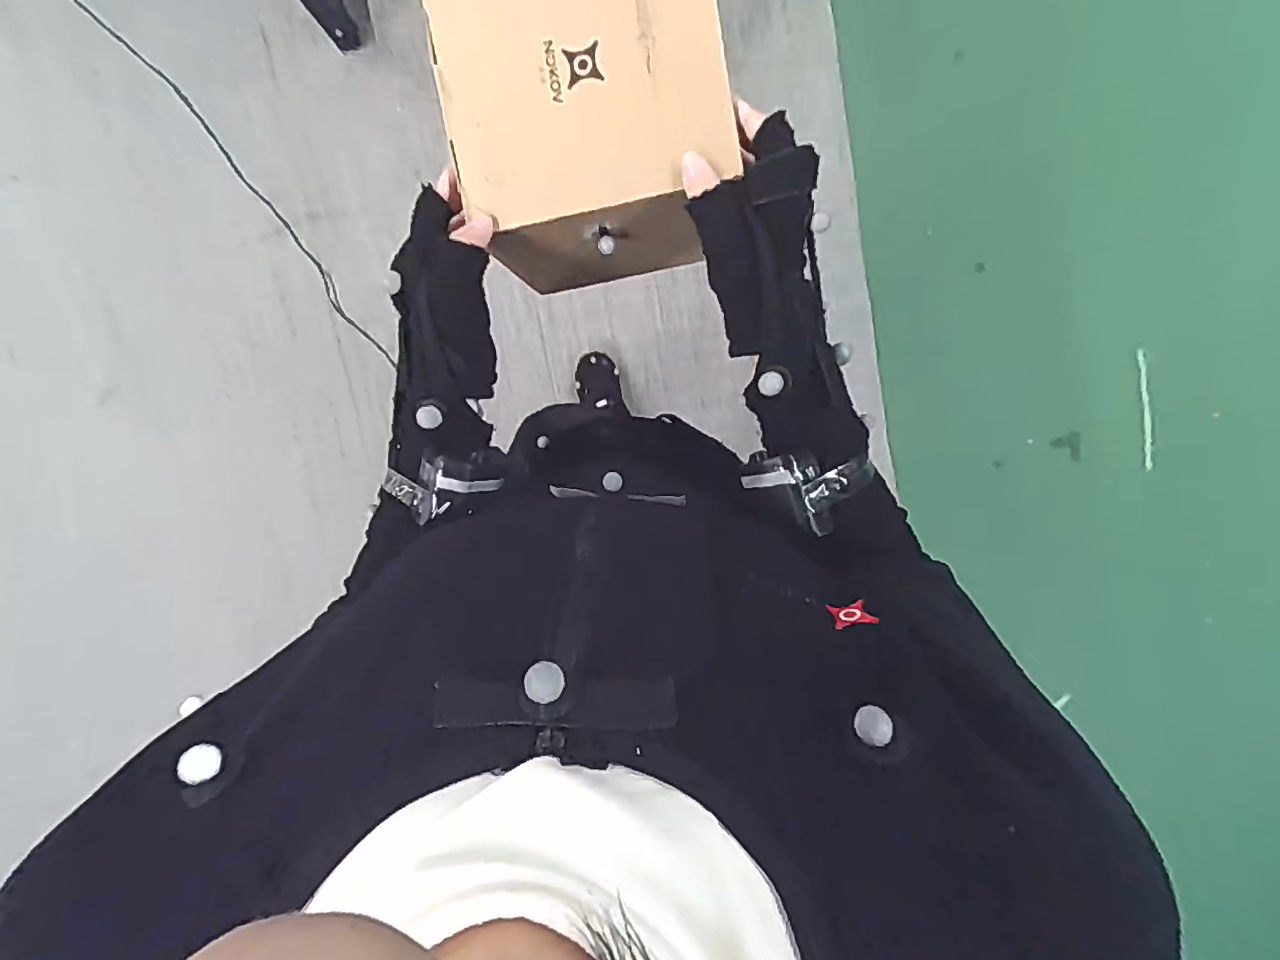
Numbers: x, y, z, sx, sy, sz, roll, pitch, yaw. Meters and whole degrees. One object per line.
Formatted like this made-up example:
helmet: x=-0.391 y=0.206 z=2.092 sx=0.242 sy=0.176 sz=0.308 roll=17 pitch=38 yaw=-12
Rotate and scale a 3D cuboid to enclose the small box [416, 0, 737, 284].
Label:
small box: x=-0.033 y=-0.258 z=0.399 sx=0.179 sy=0.176 sz=0.168 roll=-10 pitch=97 yaw=5
